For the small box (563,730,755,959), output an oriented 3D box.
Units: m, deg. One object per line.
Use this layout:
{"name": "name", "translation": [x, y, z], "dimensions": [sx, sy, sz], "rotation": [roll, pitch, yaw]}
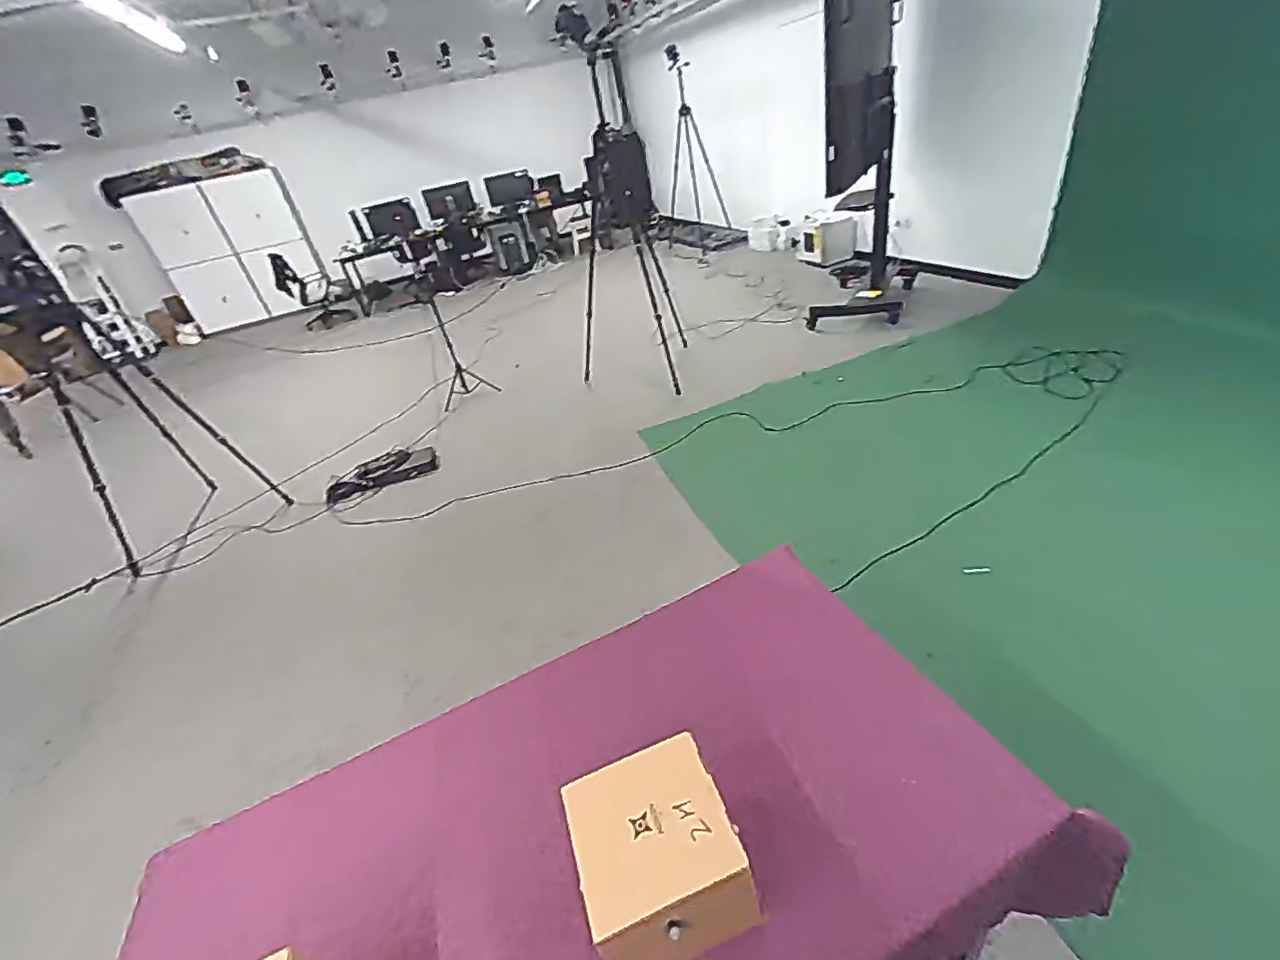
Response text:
{"name": "small box", "translation": [0.024, 0.454, 0.661], "dimensions": [0.179, 0.176, 0.168], "rotation": [-20, 34, -9]}
